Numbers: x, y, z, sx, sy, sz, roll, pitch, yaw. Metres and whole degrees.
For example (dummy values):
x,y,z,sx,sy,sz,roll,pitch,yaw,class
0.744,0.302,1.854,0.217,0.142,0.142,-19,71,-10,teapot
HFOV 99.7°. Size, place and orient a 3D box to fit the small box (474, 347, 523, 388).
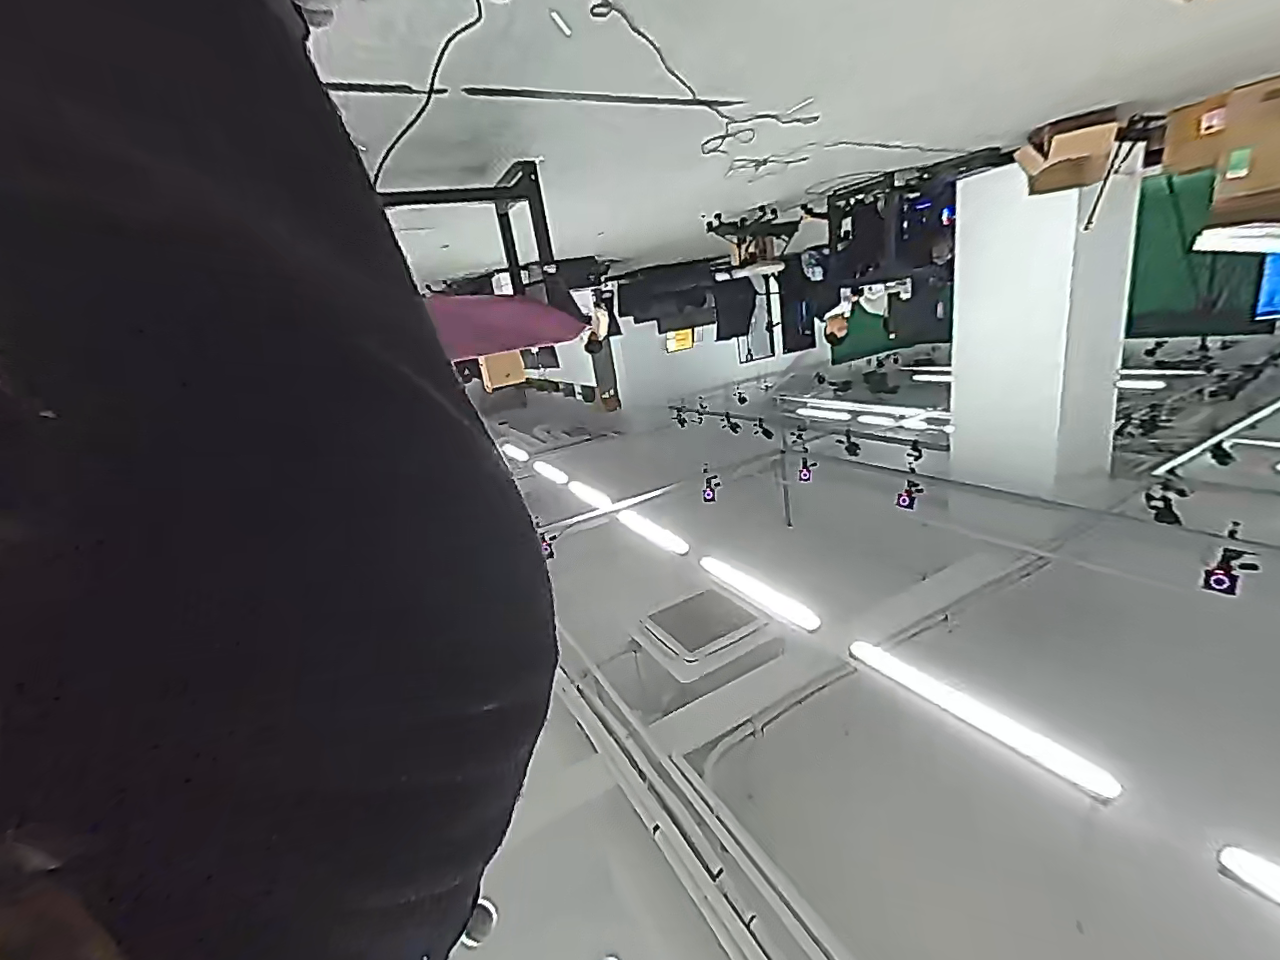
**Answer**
x,y,z,sx,sy,sz,roll,pitch,yaw,class
-0.696,-0.556,2.645,0.179,0.176,0.168,-17,-162,-22,small box
